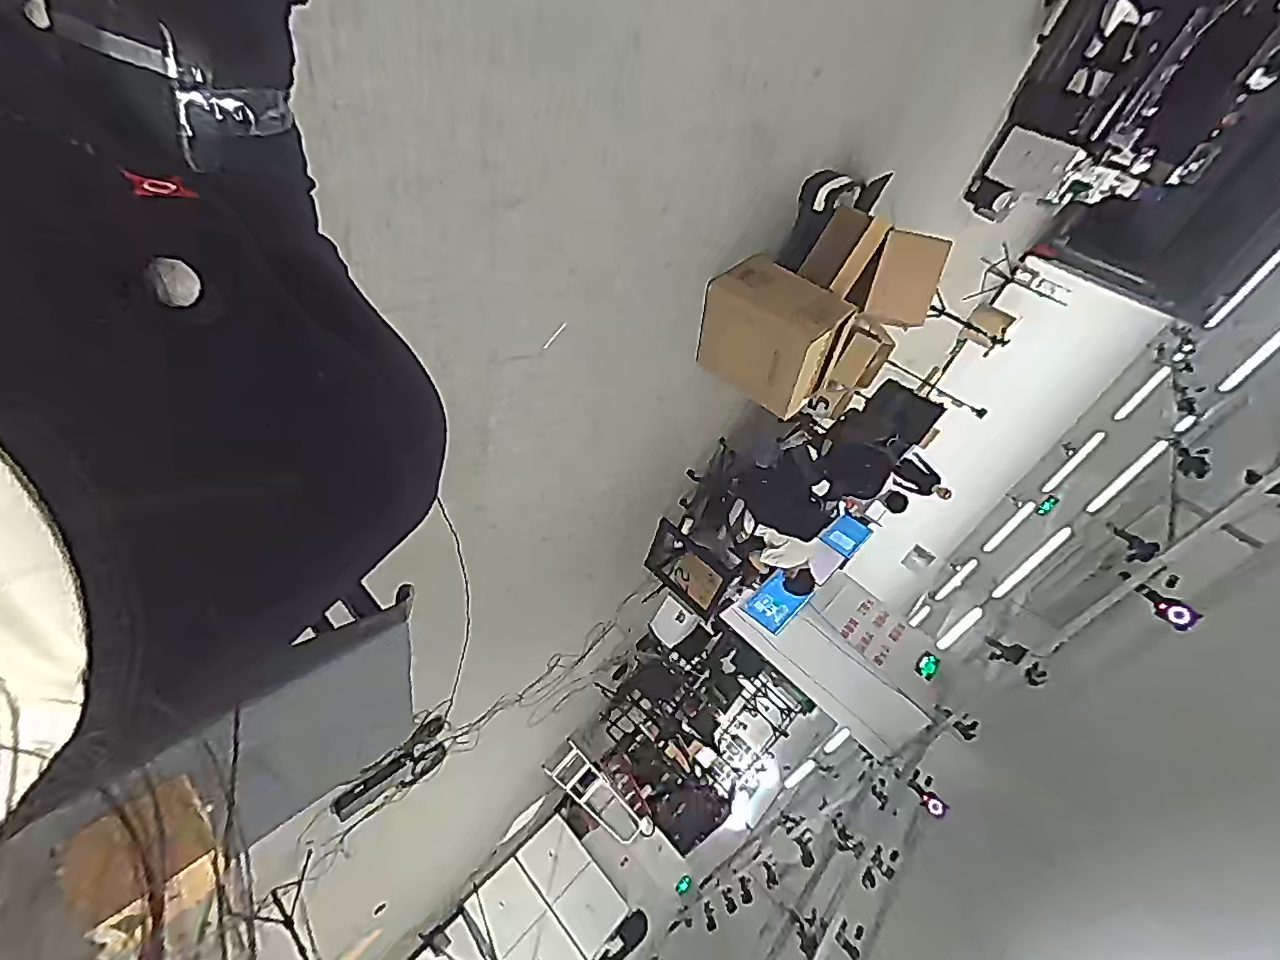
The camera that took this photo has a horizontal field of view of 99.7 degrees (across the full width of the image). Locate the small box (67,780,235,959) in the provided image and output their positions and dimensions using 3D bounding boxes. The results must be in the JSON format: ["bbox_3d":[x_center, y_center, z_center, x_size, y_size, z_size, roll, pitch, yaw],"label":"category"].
[{"bbox_3d":[-0.874,0.690,0.969,0.179,0.176,0.168,-27,148,-44],"label":"small box"}]
